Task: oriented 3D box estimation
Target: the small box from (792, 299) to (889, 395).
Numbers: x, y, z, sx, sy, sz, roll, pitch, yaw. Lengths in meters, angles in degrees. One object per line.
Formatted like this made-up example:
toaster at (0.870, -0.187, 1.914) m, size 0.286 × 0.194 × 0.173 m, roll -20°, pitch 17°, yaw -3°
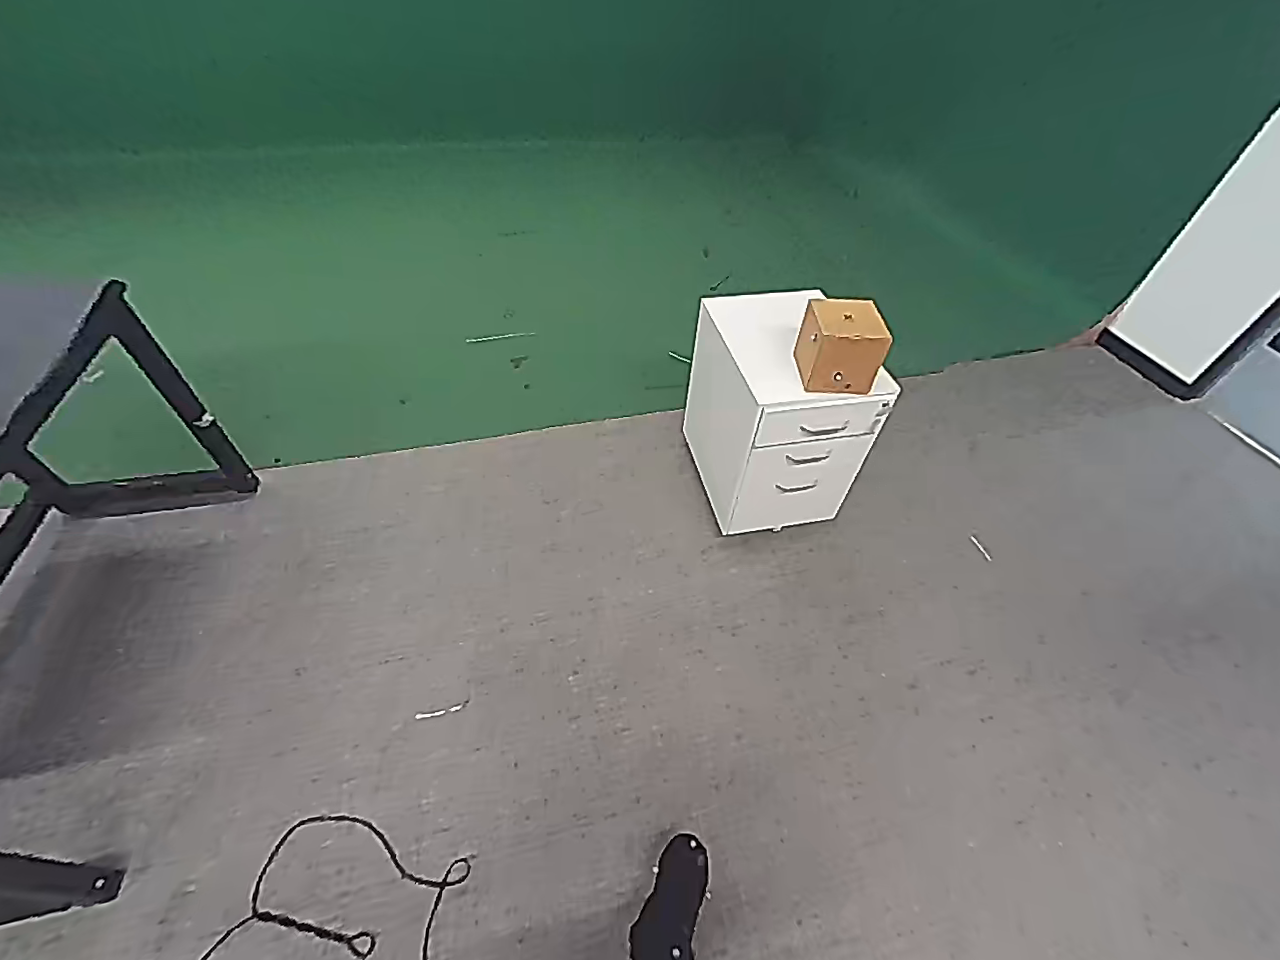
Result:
small box at (0.499, -0.337, 1.376) m, size 0.168 × 0.176 × 0.179 m, roll 2°, pitch 48°, yaw -1°
